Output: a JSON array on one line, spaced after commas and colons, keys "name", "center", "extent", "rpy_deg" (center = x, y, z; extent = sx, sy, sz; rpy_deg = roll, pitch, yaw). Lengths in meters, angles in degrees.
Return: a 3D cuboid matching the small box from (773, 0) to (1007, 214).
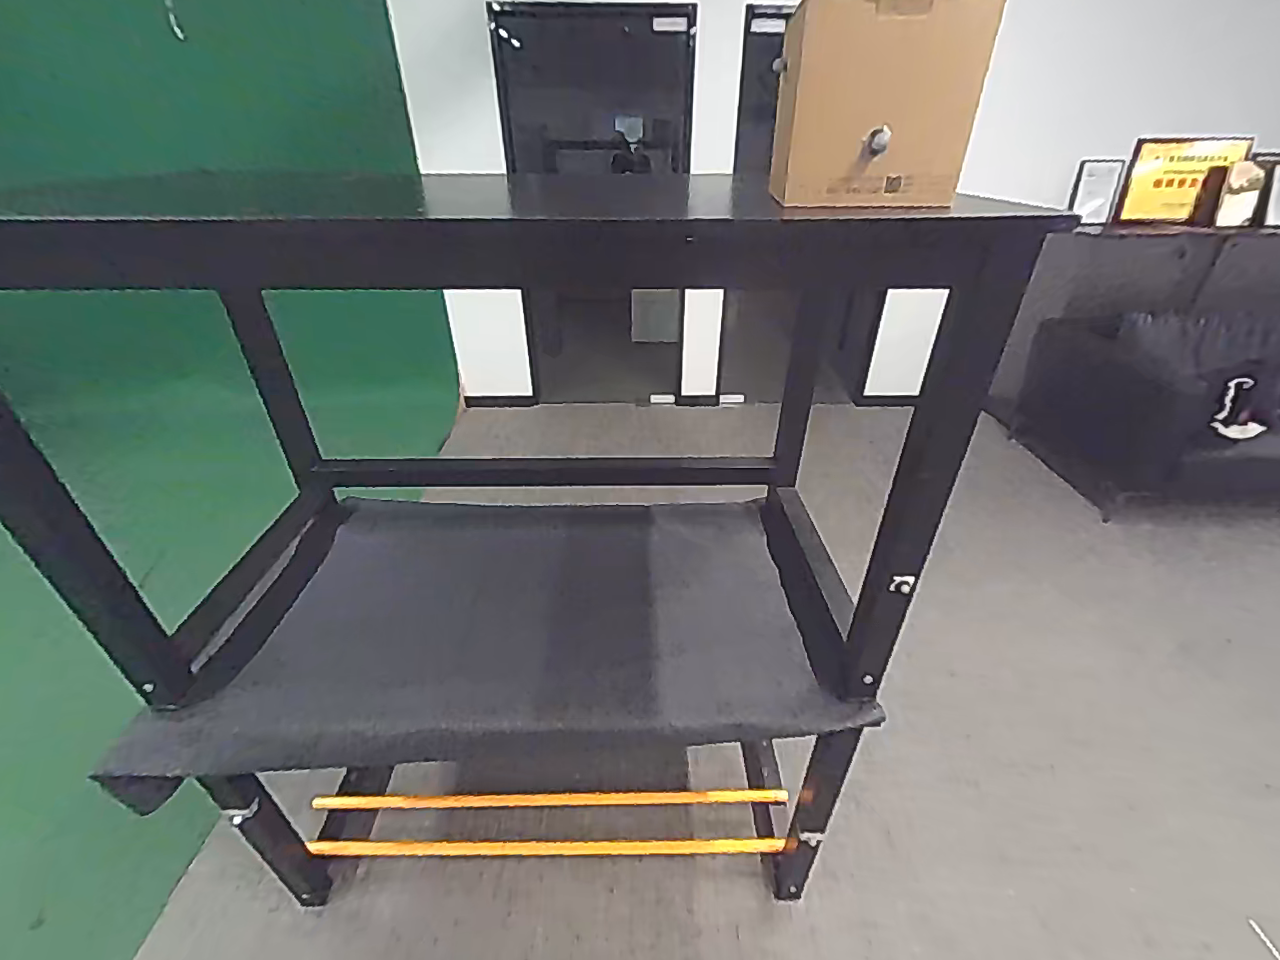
[{"name": "small box", "center": [0.238, -0.386, 0.572], "extent": [0.168, 0.176, 0.179], "rpy_deg": [3, 32, 6]}]
